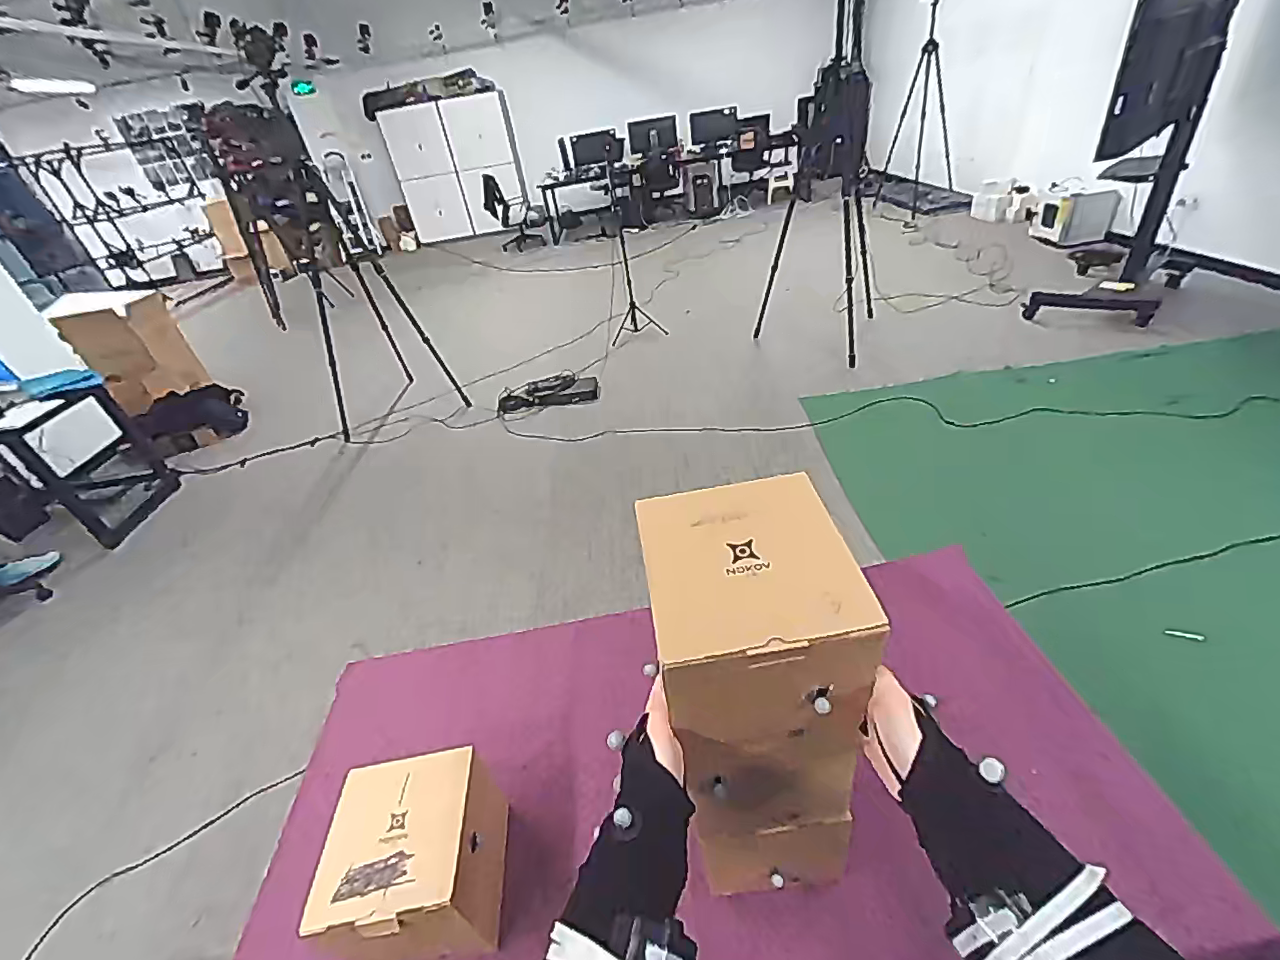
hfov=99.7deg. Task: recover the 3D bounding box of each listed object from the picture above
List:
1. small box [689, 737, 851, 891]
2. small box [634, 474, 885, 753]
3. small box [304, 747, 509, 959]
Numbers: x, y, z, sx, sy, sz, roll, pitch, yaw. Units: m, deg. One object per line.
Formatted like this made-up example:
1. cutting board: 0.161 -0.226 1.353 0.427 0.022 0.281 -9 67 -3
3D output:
1. small box: 0.152 0.385 0.692 0.168 0.176 0.179 -10 35 2
2. small box: 0.093 0.124 0.487 0.168 0.176 0.179 -10 41 0
3. small box: -0.272 0.477 0.682 0.168 0.176 0.179 -11 34 -1
